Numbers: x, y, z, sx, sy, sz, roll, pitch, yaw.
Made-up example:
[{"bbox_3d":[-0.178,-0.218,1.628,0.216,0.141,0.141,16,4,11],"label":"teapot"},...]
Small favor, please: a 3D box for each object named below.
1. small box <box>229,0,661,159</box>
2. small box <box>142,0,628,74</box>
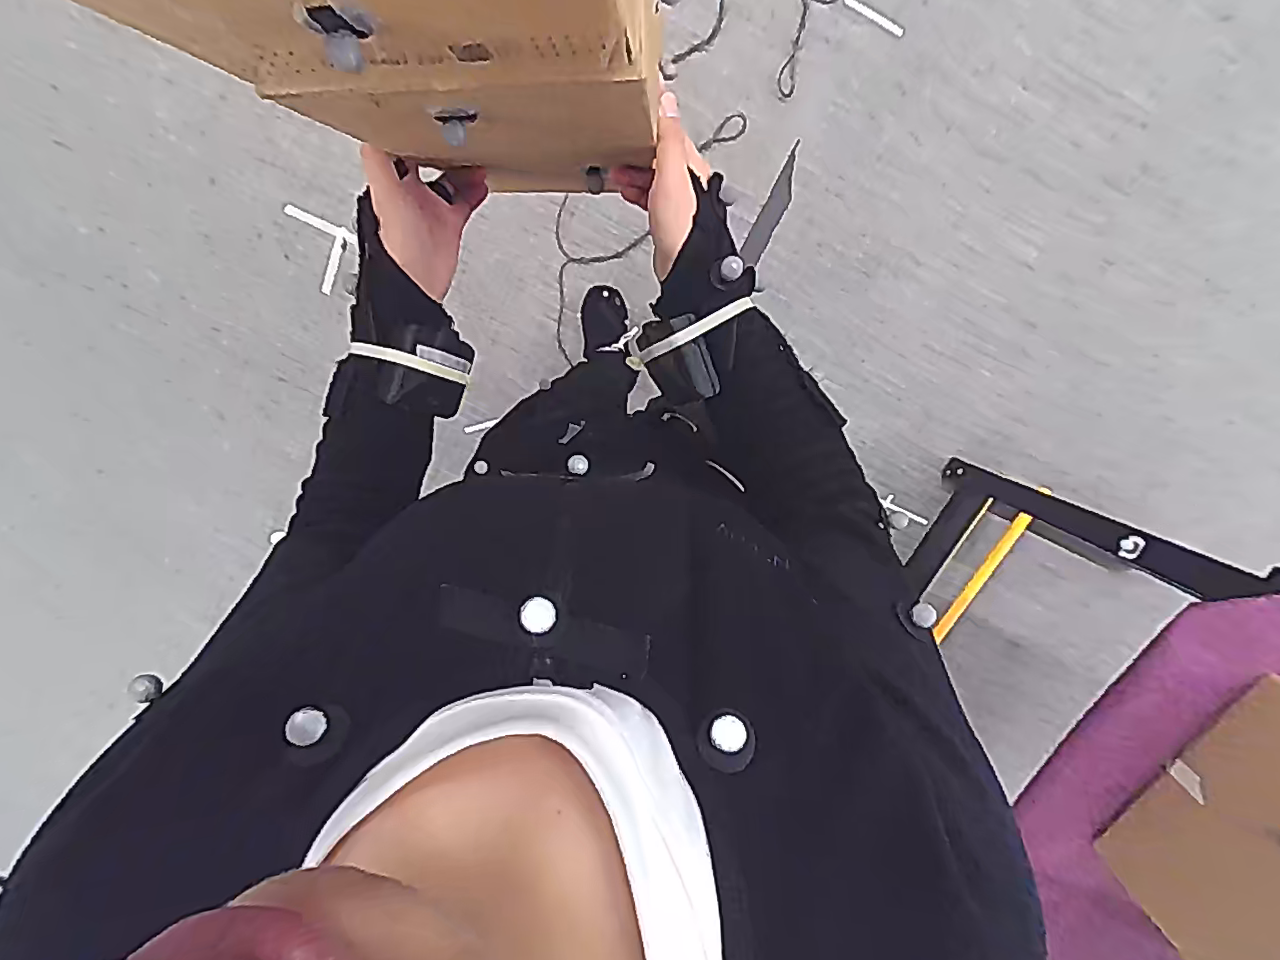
[{"bbox_3d":[-0.080,-0.272,0.272,0.179,0.176,0.168,0,110,3],"label":"small box"},{"bbox_3d":[-0.092,-0.224,0.117,0.168,0.176,0.179,-1,111,4],"label":"small box"}]
